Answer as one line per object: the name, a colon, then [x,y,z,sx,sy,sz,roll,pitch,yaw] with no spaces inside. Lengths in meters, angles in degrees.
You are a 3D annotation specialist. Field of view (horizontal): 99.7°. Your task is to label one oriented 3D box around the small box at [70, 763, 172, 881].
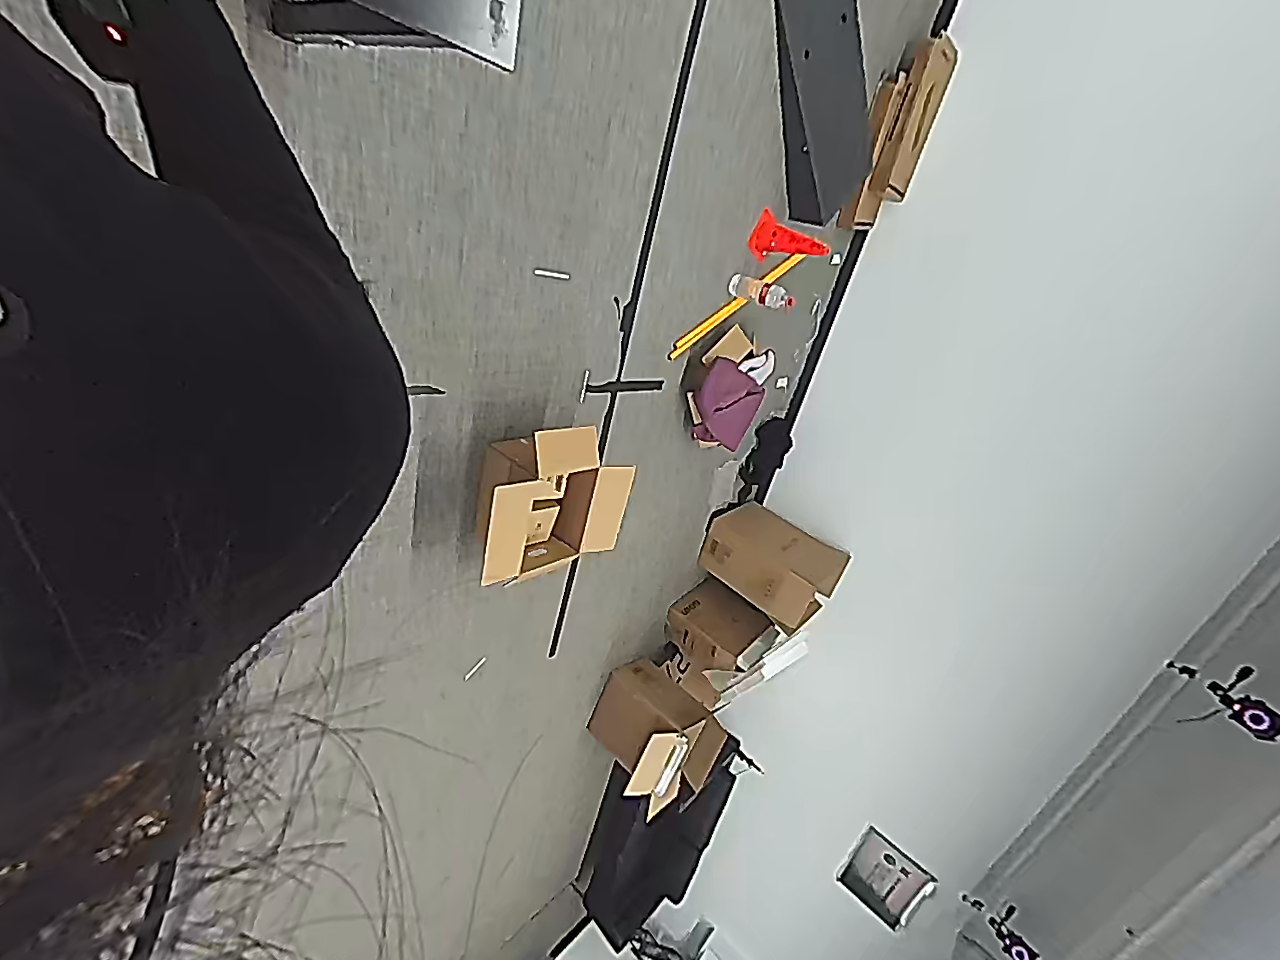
small box: [-1.409,0.917,1.470,0.179,0.176,0.168,-9,121,-49]
